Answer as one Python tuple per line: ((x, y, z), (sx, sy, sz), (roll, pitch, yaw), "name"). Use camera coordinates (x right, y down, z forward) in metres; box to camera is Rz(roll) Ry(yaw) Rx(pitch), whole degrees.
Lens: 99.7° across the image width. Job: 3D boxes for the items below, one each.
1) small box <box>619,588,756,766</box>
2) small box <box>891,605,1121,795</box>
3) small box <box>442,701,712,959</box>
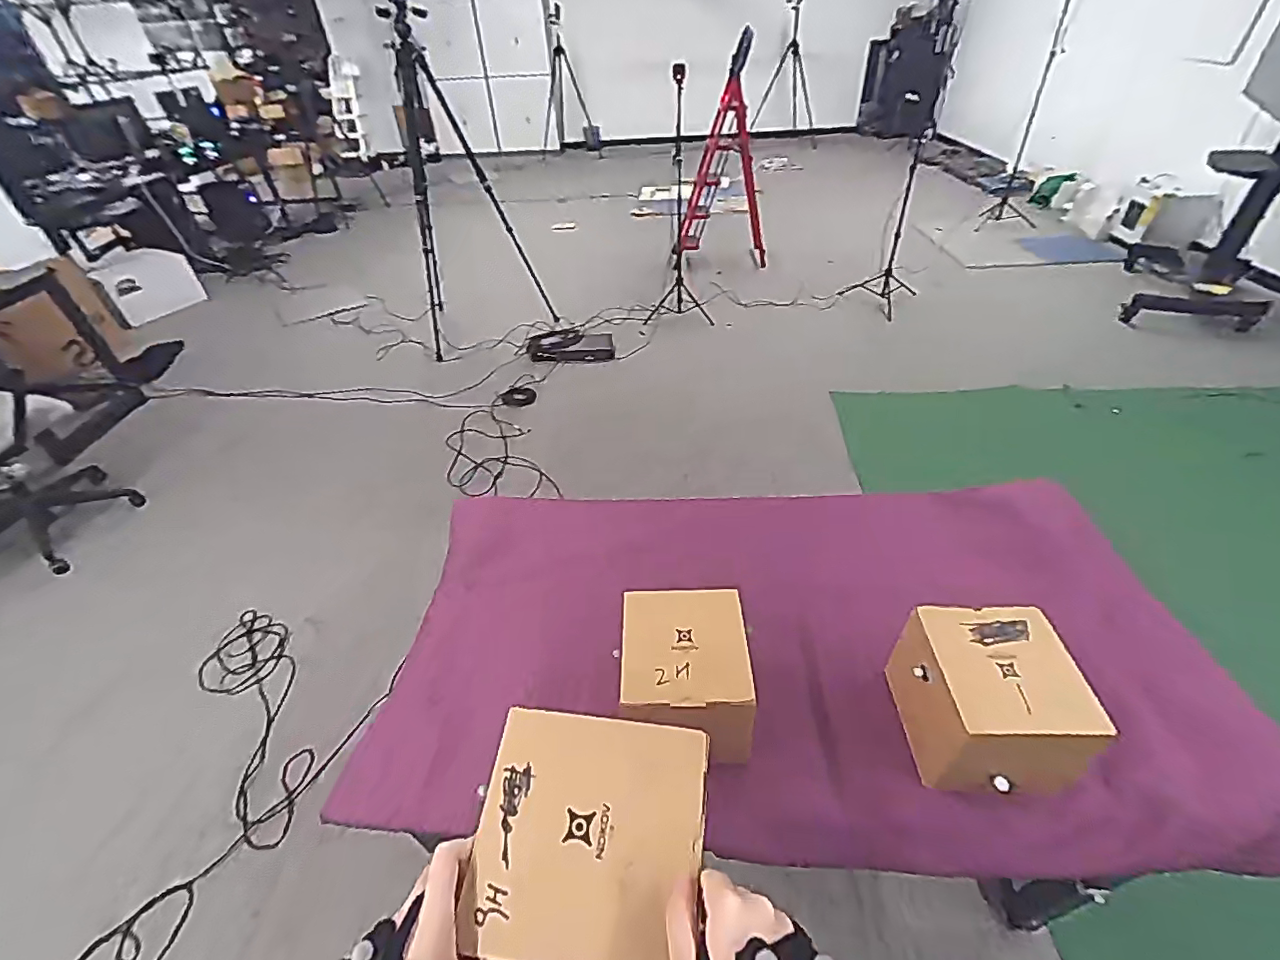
((0.062, 0.273, 0.756), (0.168, 0.176, 0.179), (-3, 39, 3), "small box")
((0.453, 0.286, 0.712), (0.168, 0.176, 0.179), (-1, 40, 4), "small box")
((-0.037, 0.311, 0.468), (0.179, 0.176, 0.168), (5, 51, 6), "small box")
